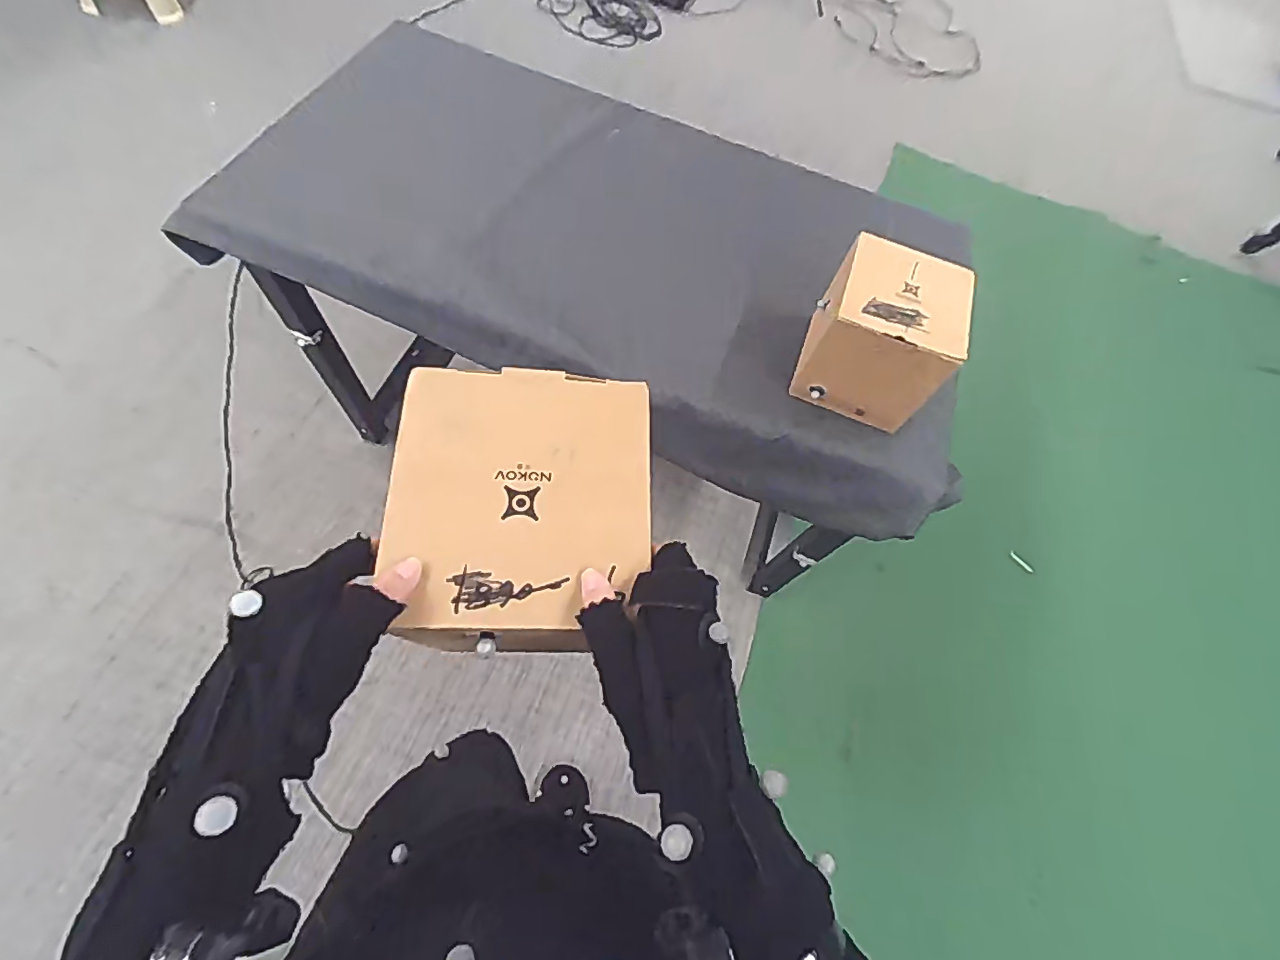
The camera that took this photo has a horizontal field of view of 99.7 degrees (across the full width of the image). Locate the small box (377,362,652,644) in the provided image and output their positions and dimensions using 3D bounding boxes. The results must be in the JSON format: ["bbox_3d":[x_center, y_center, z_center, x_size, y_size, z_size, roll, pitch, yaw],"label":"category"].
[{"bbox_3d":[-0.084,0.031,0.431,0.168,0.176,0.179,3,69,-6],"label":"small box"}]

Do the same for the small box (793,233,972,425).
[{"bbox_3d":[0.337,-0.207,0.774,0.168,0.176,0.179,22,63,4],"label":"small box"}]
